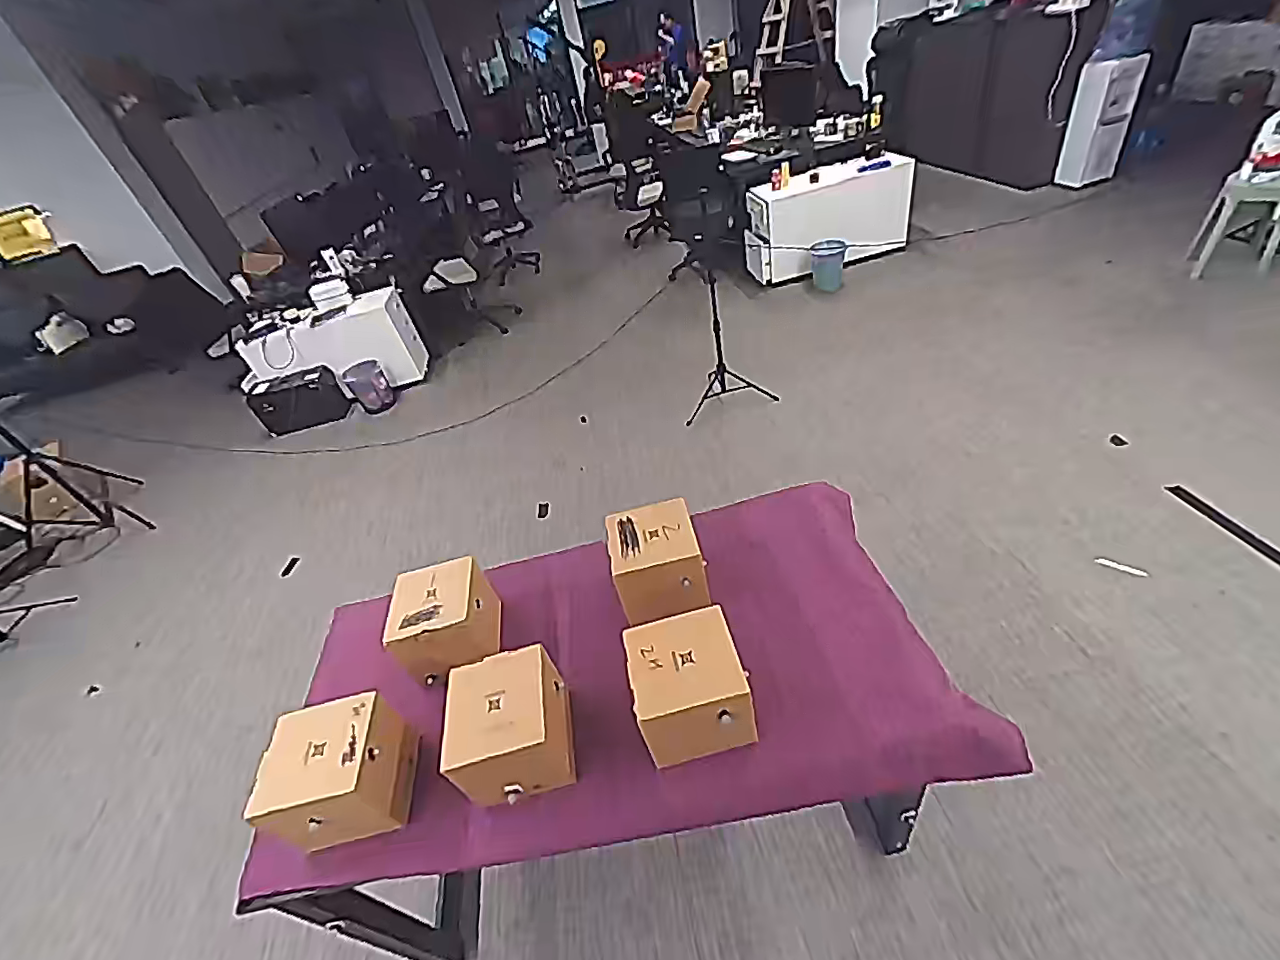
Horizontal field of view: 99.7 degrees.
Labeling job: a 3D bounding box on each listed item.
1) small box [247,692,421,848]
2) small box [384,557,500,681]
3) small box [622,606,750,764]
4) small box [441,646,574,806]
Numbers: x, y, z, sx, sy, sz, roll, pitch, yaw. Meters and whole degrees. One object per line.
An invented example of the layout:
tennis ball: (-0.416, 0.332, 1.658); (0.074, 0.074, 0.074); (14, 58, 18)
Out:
small box: (-0.505, 0.497, 0.923); (0.179, 0.176, 0.168); (-15, 40, 1)
small box: (-0.401, 0.296, 1.128); (0.168, 0.176, 0.179); (-15, 39, 0)
small box: (0.080, 0.346, 0.910); (0.179, 0.176, 0.168); (-16, 39, 0)
small box: (-0.219, 0.420, 0.925); (0.168, 0.176, 0.179); (-16, 41, 0)
